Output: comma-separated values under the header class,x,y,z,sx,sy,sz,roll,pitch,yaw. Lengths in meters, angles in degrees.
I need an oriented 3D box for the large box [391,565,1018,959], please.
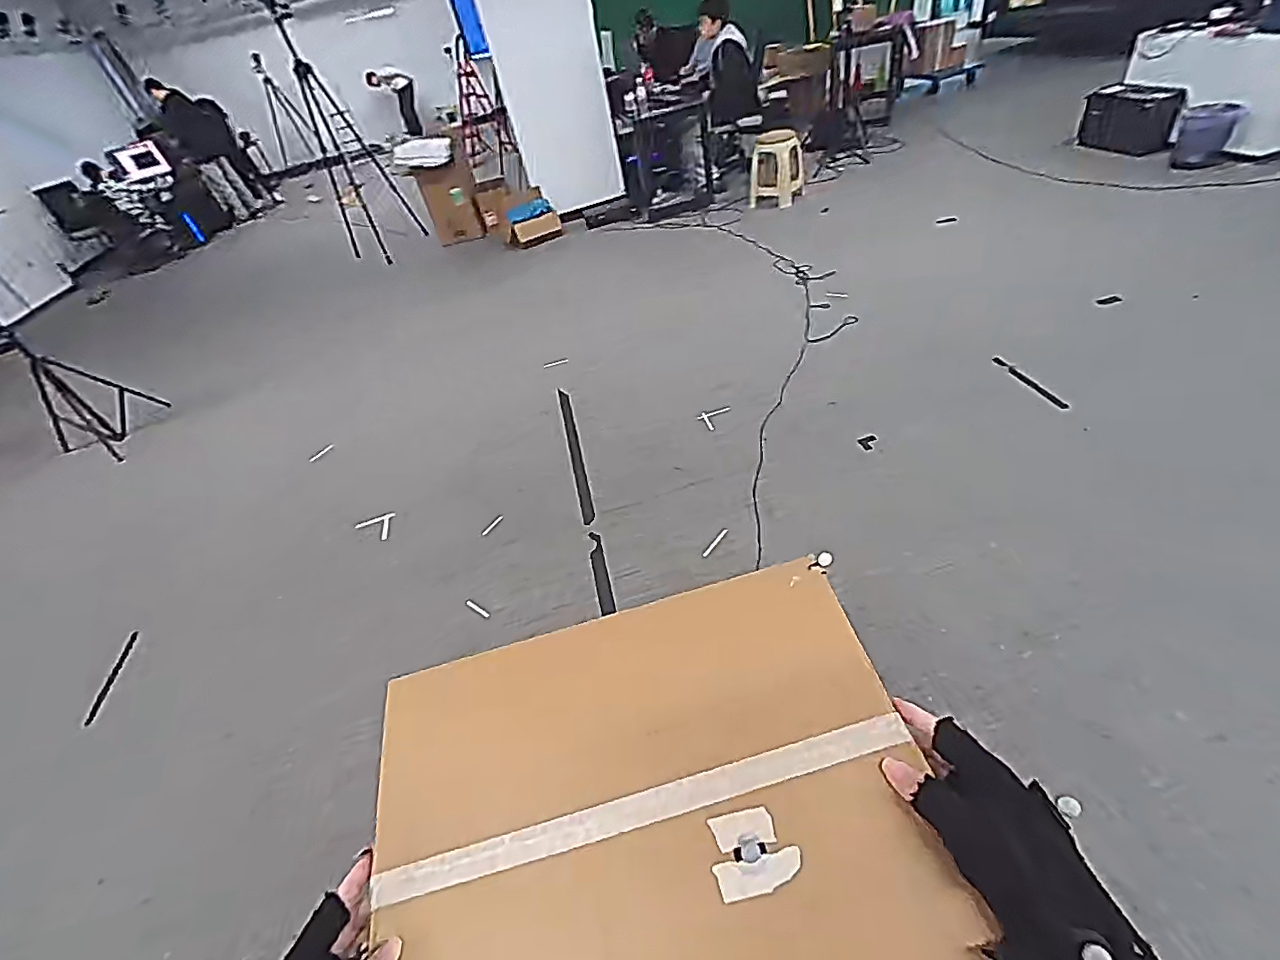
class,x,y,z,sx,sy,sz,roll,pitch,yaw
large box,0.030,0.340,0.524,0.408,0.320,0.320,-16,50,-1
